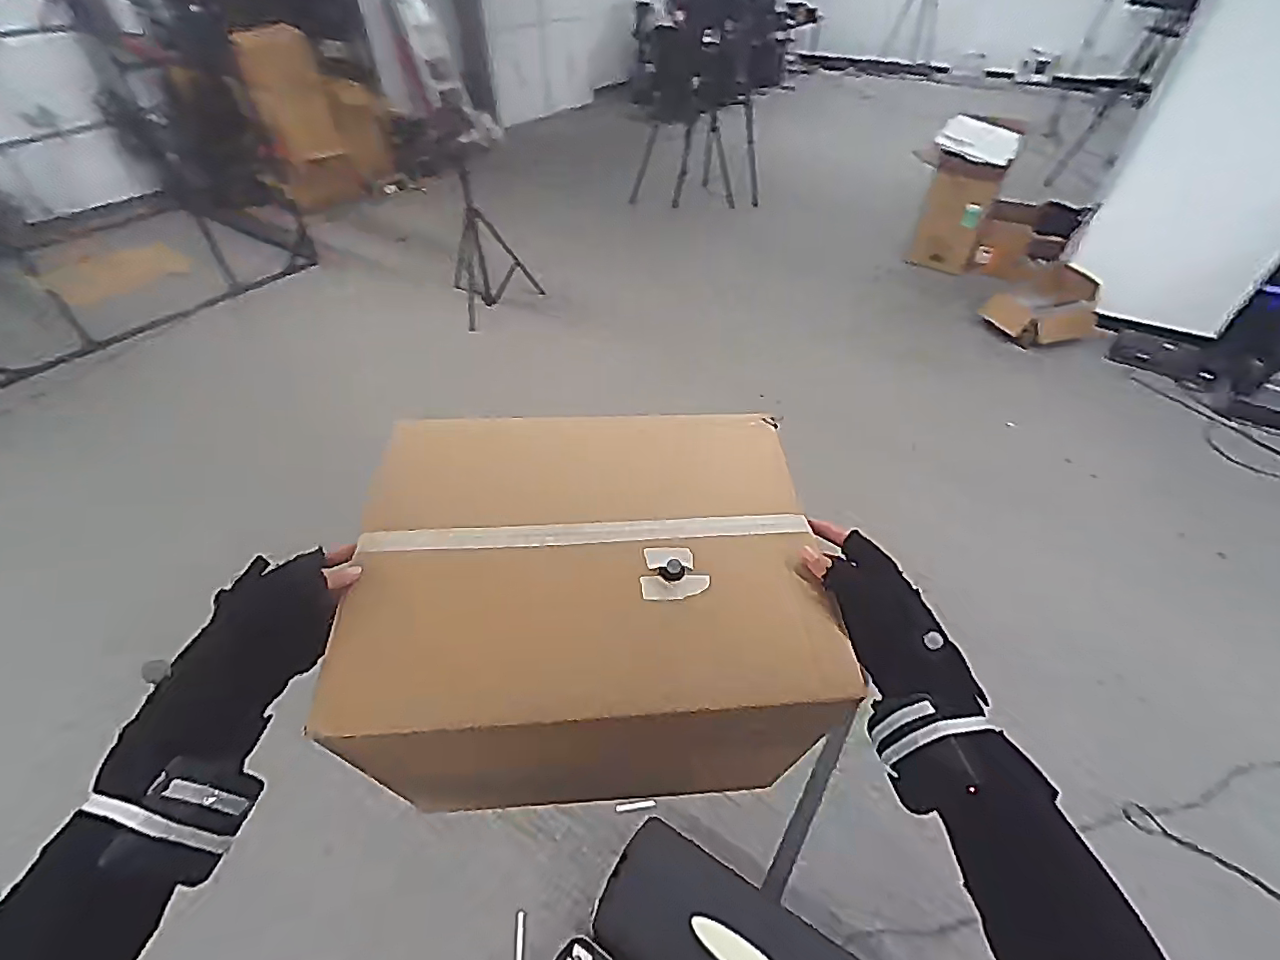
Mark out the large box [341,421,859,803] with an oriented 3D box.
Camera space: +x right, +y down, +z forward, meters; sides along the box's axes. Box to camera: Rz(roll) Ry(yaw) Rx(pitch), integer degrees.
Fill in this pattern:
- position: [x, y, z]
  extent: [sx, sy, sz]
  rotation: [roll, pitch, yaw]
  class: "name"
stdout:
- position: [-0.043, 0.150, 0.615]
  extent: [0.408, 0.320, 0.320]
  rotation: [-1, 51, -5]
  class: "large box"
